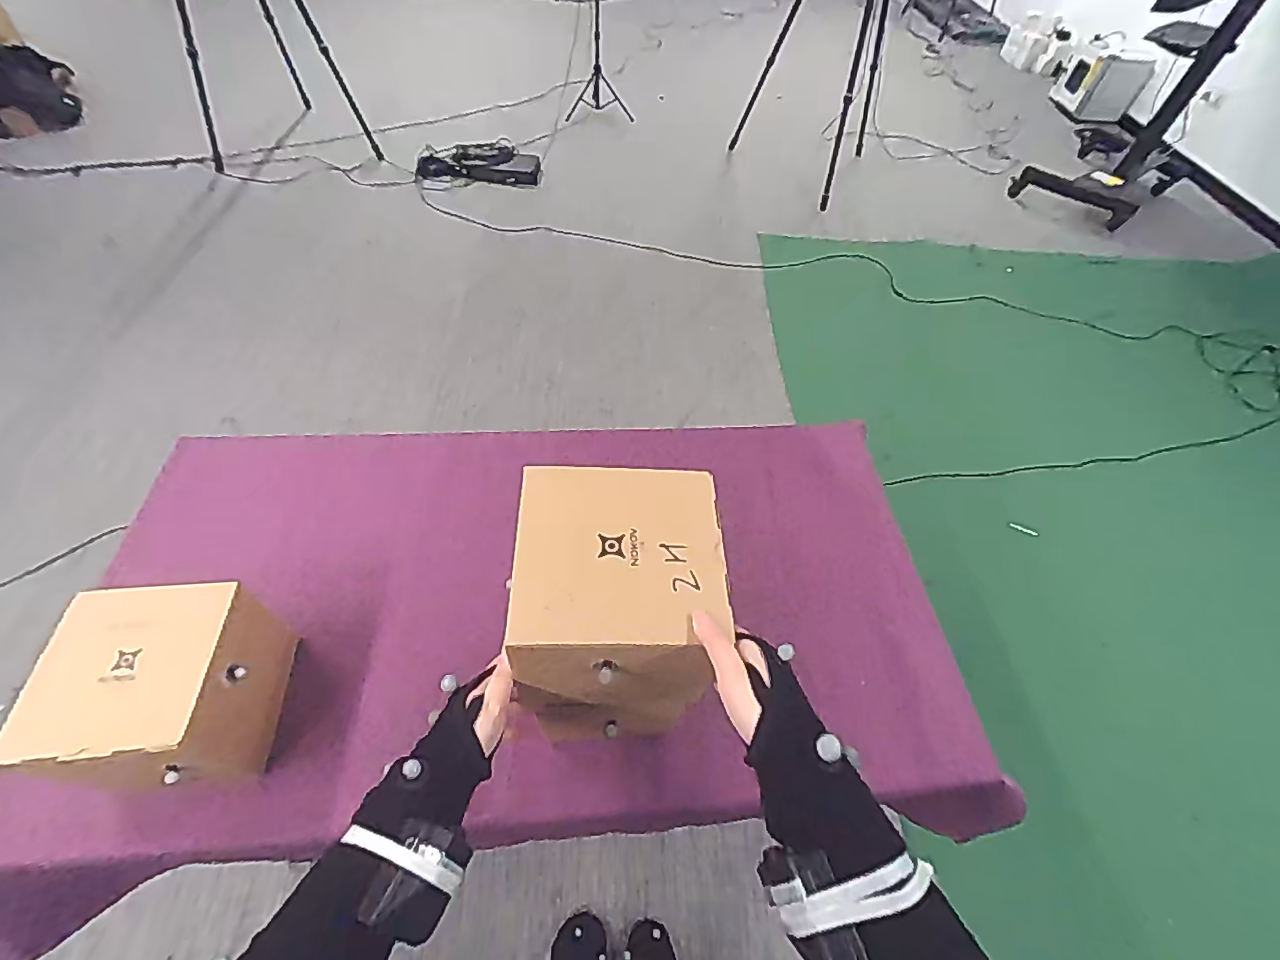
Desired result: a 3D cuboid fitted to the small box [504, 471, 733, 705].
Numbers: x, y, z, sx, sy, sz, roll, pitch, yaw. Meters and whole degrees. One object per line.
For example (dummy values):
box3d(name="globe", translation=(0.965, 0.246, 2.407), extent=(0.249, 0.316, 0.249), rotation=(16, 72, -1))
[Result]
box3d(name="small box", translation=(-0.024, 0.109, 0.515), extent=(0.179, 0.176, 0.168), rotation=(3, 54, -6))

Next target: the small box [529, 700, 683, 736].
box3d(name="small box", translation=(-0.043, 0.213, 0.675), extent=(0.168, 0.176, 0.179), rotation=(-1, 54, -6))

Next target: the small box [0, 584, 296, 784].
box3d(name="small box", translation=(-0.529, 0.237, 0.616), extent=(0.168, 0.176, 0.179), rotation=(-1, 53, -7))
